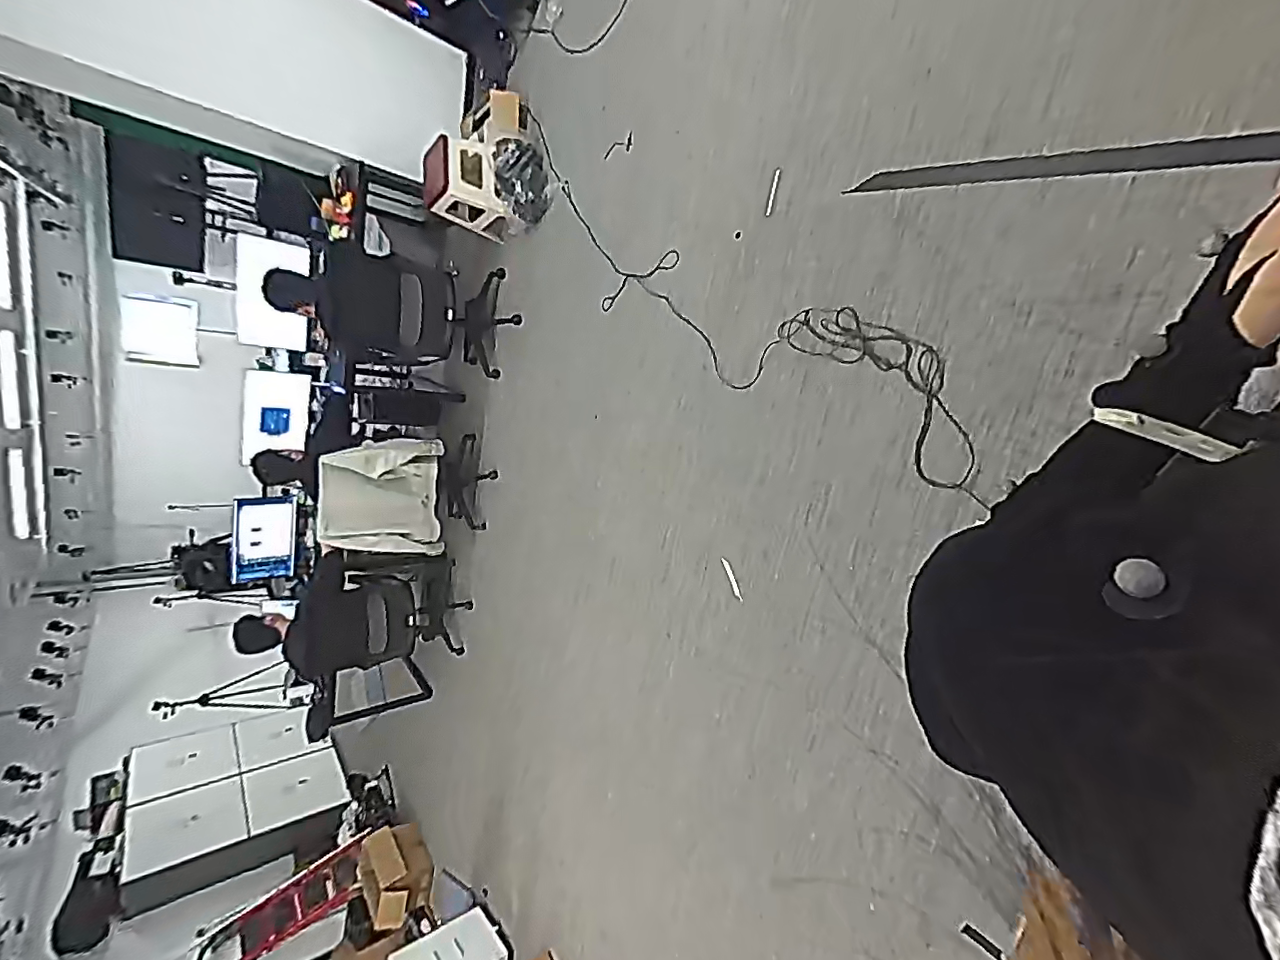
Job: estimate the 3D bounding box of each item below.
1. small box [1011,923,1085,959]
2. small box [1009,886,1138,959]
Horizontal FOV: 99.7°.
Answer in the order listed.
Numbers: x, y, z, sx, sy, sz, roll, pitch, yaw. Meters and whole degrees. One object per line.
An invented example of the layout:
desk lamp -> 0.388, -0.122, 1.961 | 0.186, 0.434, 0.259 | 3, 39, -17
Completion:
small box -> 0.815, 1.032, 1.051 | 0.179, 0.176, 0.168 | 21, 106, 46
small box -> 0.932, 1.030, 1.167 | 0.179, 0.176, 0.168 | 18, 104, 46
